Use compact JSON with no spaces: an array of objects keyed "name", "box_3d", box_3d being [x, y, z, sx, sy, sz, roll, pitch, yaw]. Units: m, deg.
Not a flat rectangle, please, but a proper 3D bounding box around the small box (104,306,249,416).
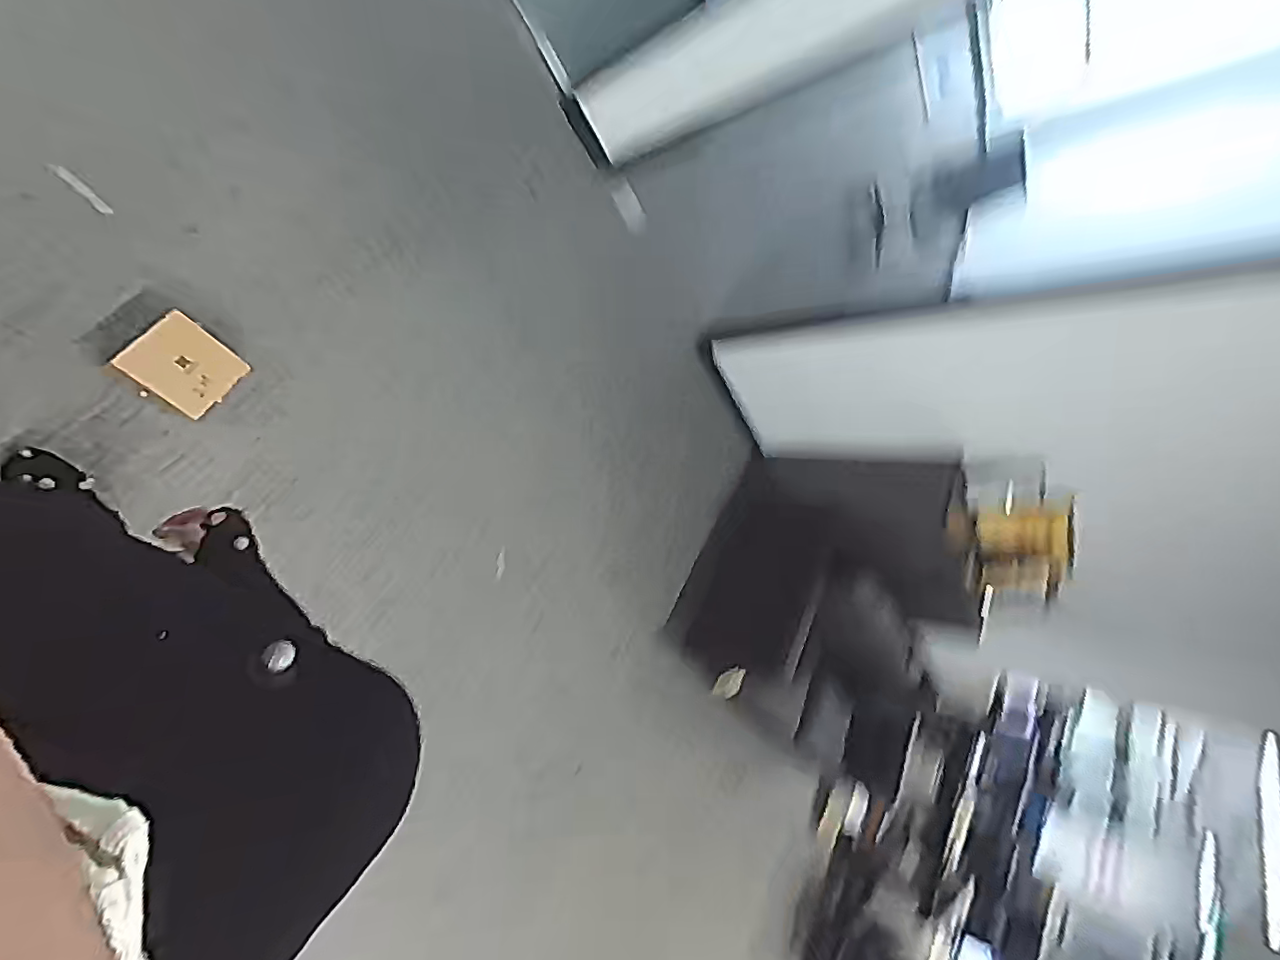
[{"name":"small box","box_3d":[-1.035,-0.256,1.205,0.179,0.176,0.168,53,56,-38]}]
